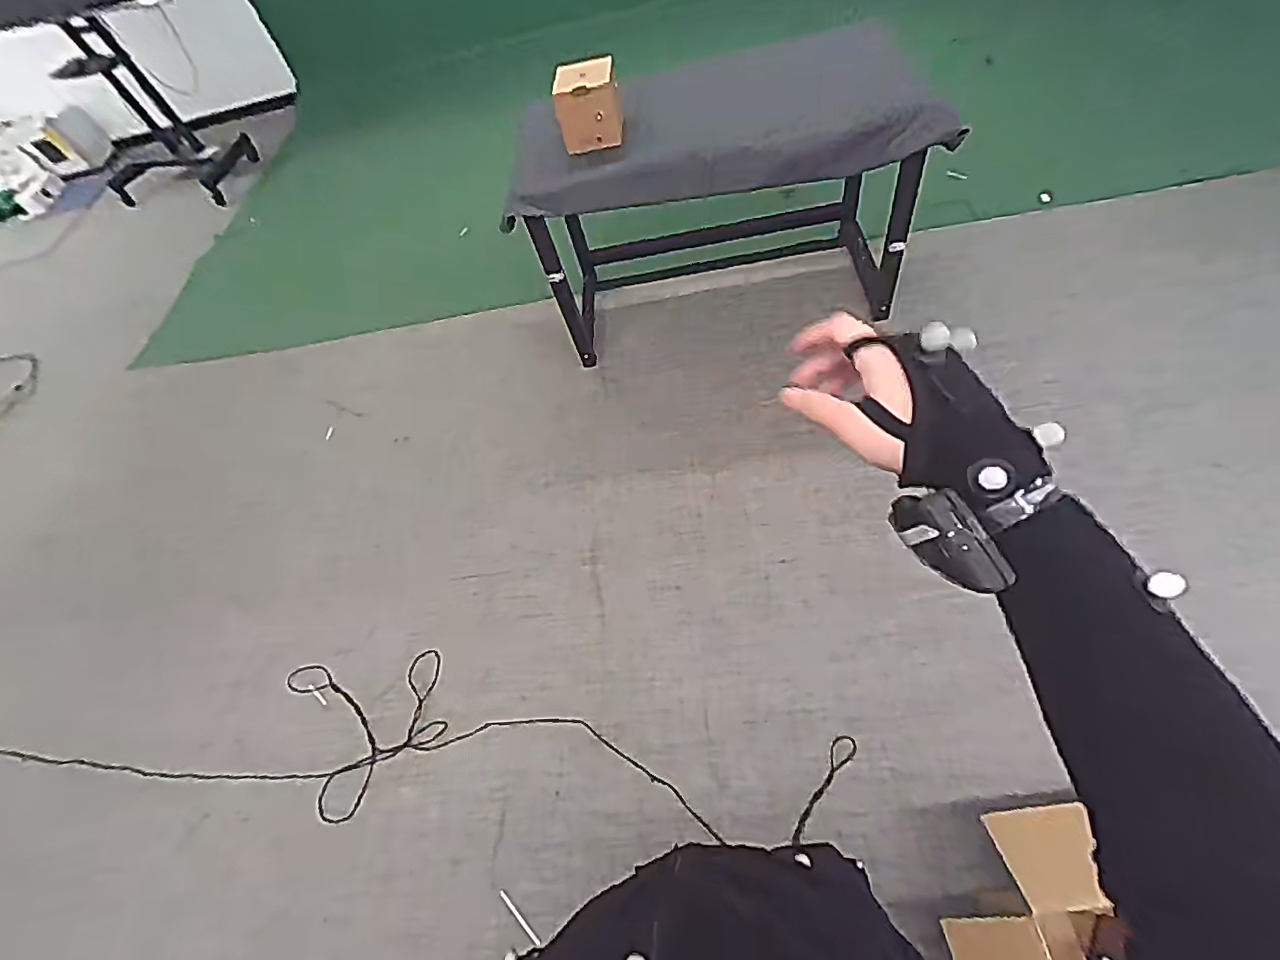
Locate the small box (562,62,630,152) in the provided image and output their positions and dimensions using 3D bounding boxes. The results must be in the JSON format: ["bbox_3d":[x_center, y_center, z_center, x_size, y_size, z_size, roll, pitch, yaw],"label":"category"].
[{"bbox_3d":[-0.126,-1.108,1.619,0.168,0.176,0.179,-4,56,8],"label":"small box"}]
